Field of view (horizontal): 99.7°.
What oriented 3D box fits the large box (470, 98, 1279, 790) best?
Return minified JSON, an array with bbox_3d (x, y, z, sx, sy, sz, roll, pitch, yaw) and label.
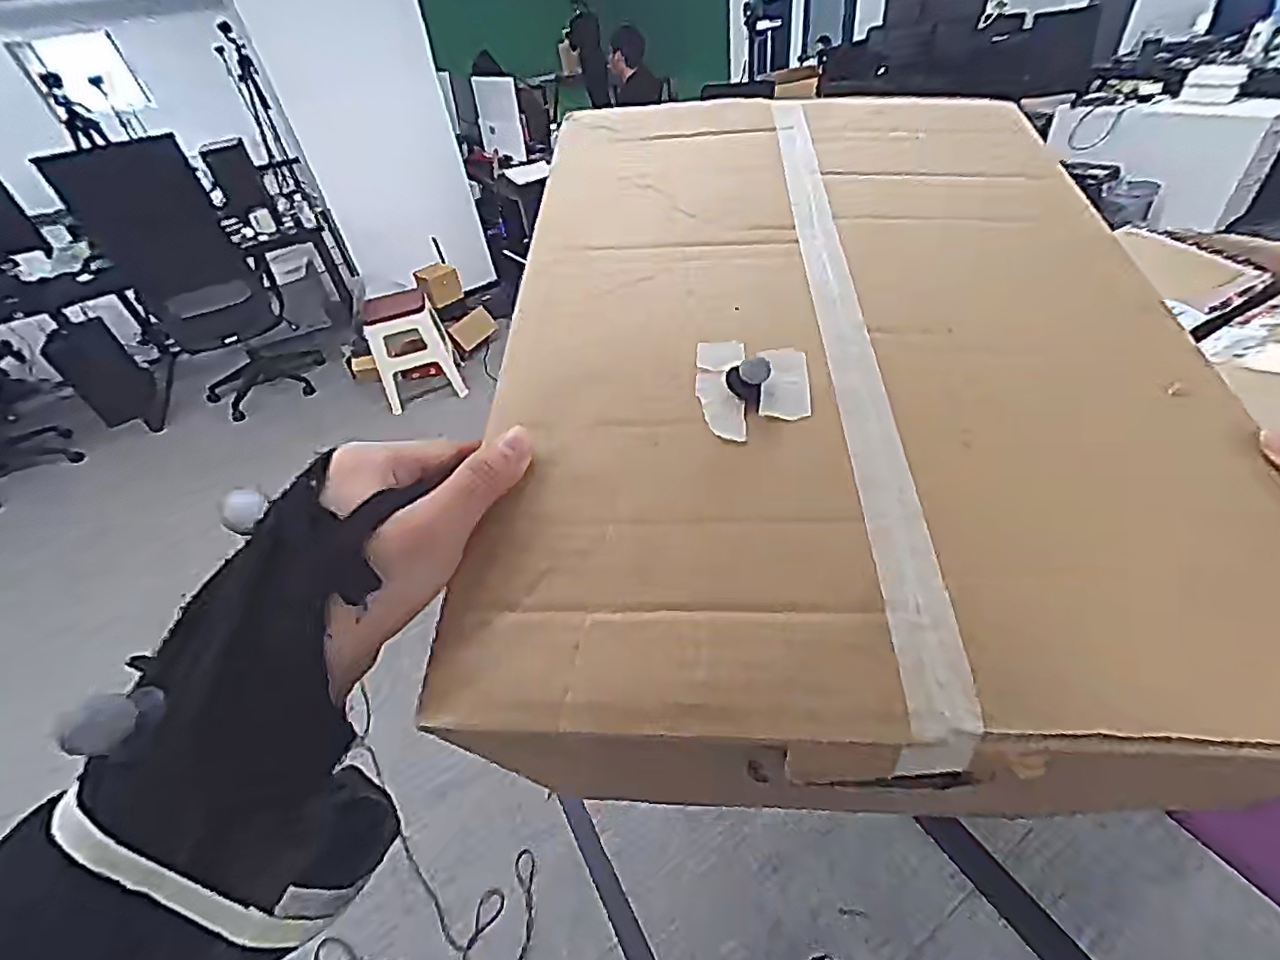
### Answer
[{"bbox_3d":[0.104,-0.016,0.396,0.320,0.320,0.408,0,57,3],"label":"large box"}]
